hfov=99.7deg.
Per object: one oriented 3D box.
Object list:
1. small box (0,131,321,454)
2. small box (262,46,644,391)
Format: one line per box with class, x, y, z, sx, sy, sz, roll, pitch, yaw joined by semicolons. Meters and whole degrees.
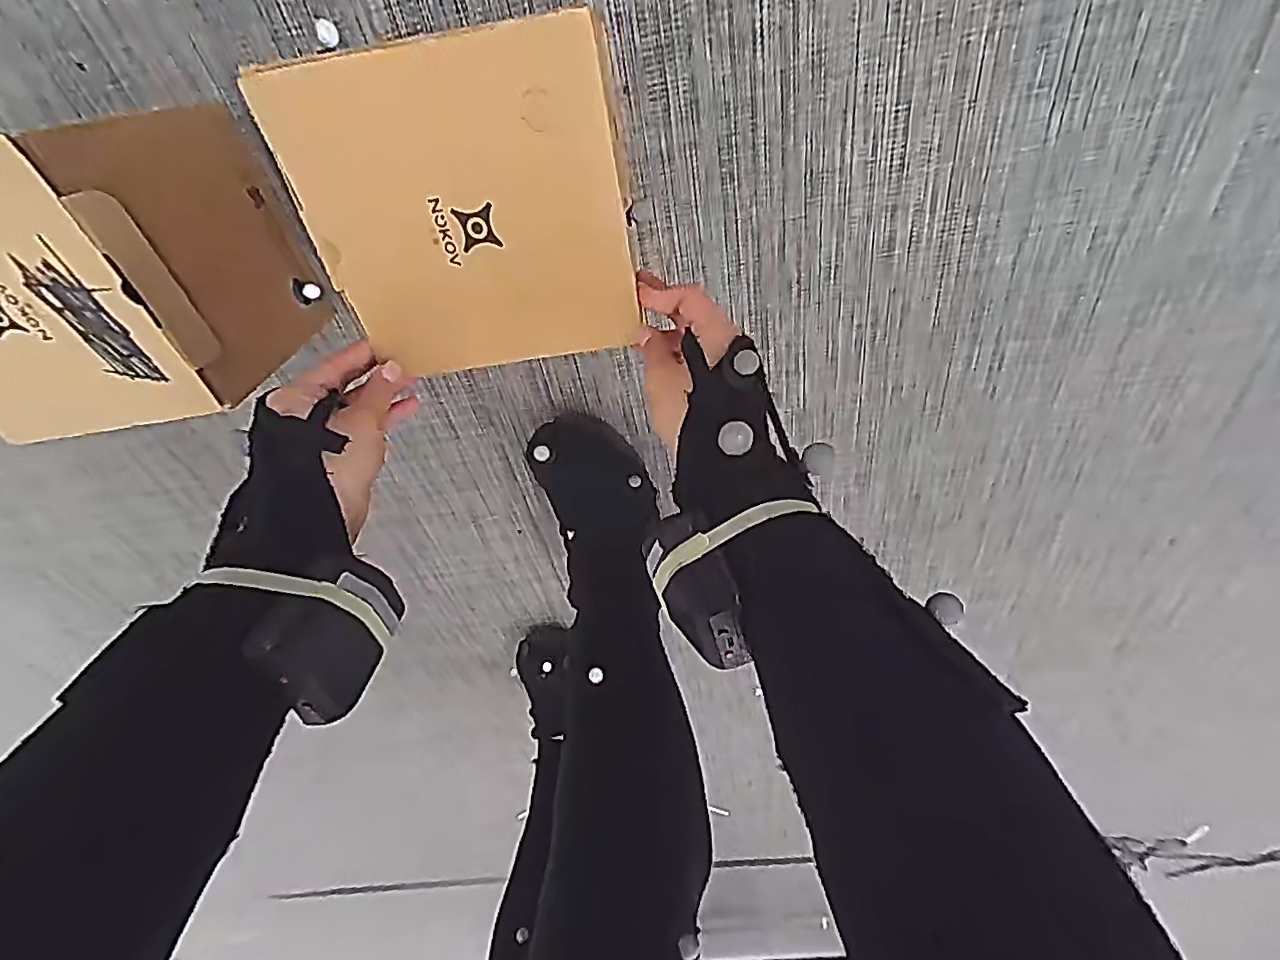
small box;-0.375;-0.142;0.400;0.179;0.176;0.168;-7;128;6
small box;-0.095;-0.184;0.374;0.179;0.176;0.168;-7;128;5
